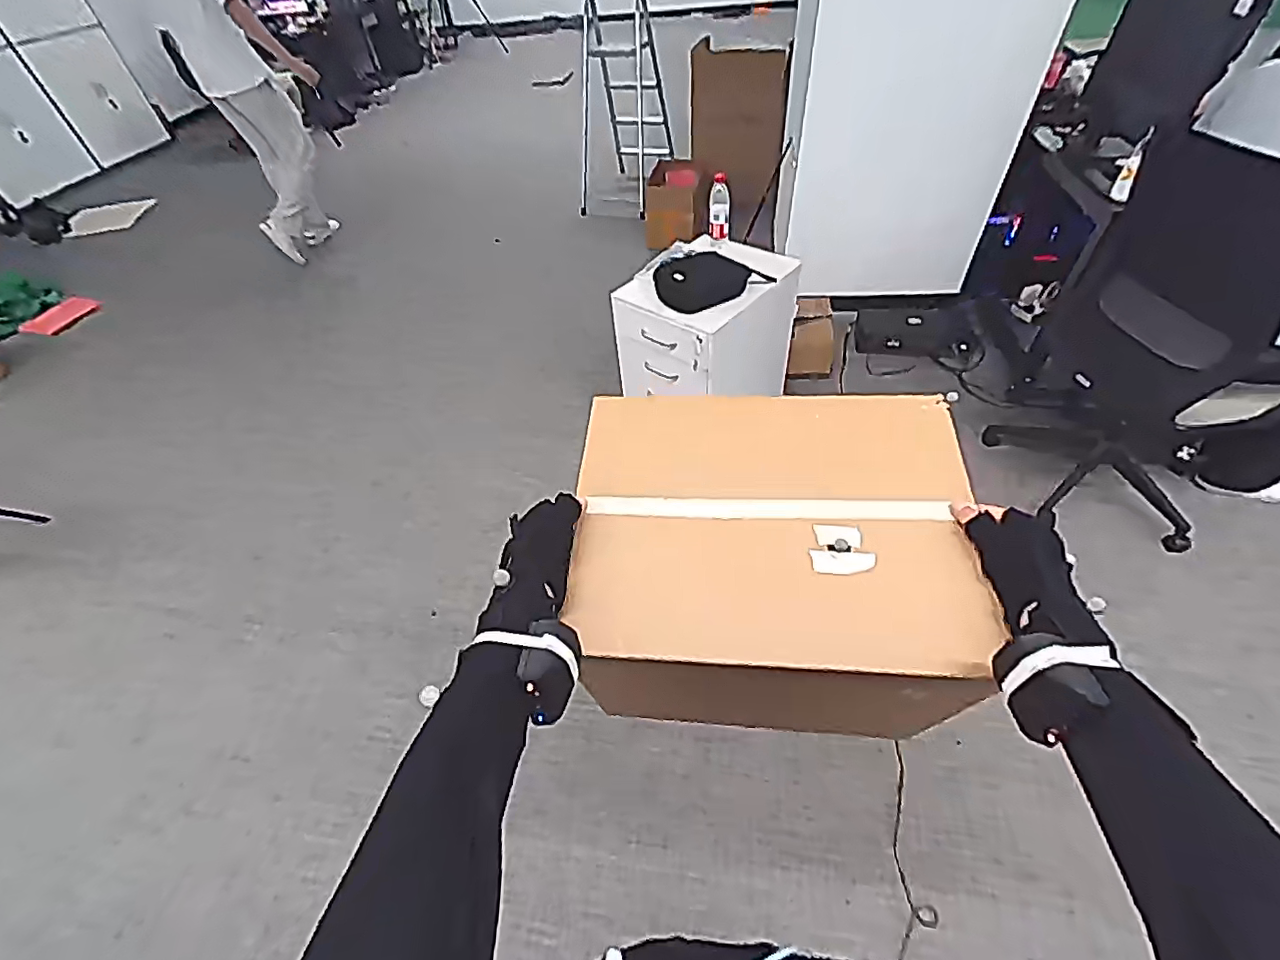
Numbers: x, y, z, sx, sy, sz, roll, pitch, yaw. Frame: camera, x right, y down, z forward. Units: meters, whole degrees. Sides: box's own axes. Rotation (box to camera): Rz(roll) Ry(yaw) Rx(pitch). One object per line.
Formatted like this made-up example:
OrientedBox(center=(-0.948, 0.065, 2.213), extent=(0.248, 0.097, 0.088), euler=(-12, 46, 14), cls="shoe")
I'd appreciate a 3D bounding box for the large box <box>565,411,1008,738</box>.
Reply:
OrientedBox(center=(0.146, 0.129, 0.692), extent=(0.408, 0.320, 0.320), euler=(1, 57, 7), cls="large box")
